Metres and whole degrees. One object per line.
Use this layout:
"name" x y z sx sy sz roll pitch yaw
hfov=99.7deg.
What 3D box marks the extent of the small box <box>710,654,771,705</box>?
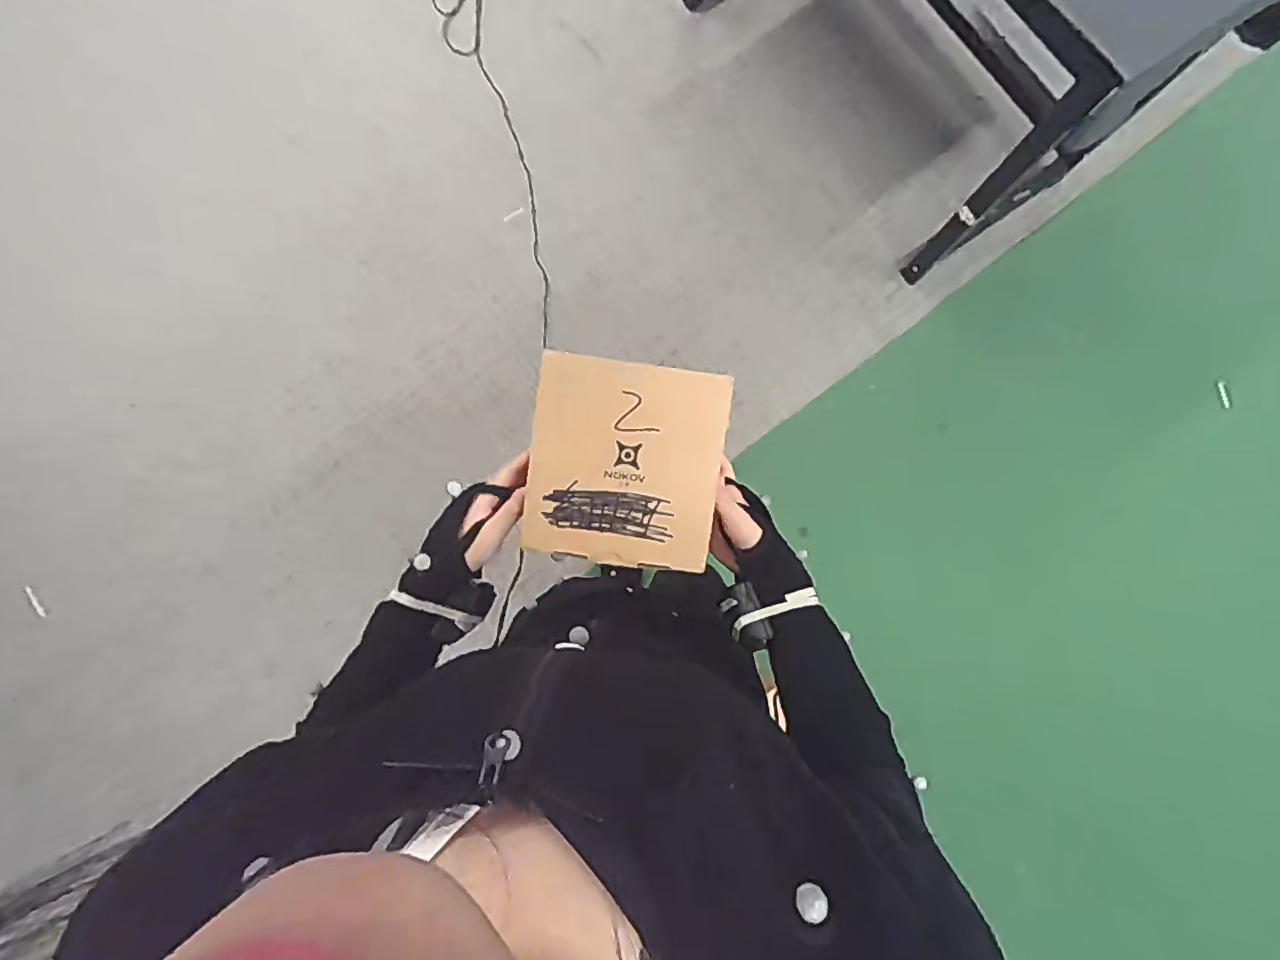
"small box" 0.298 0.570 1.391 0.168 0.176 0.179 -36 85 -2
